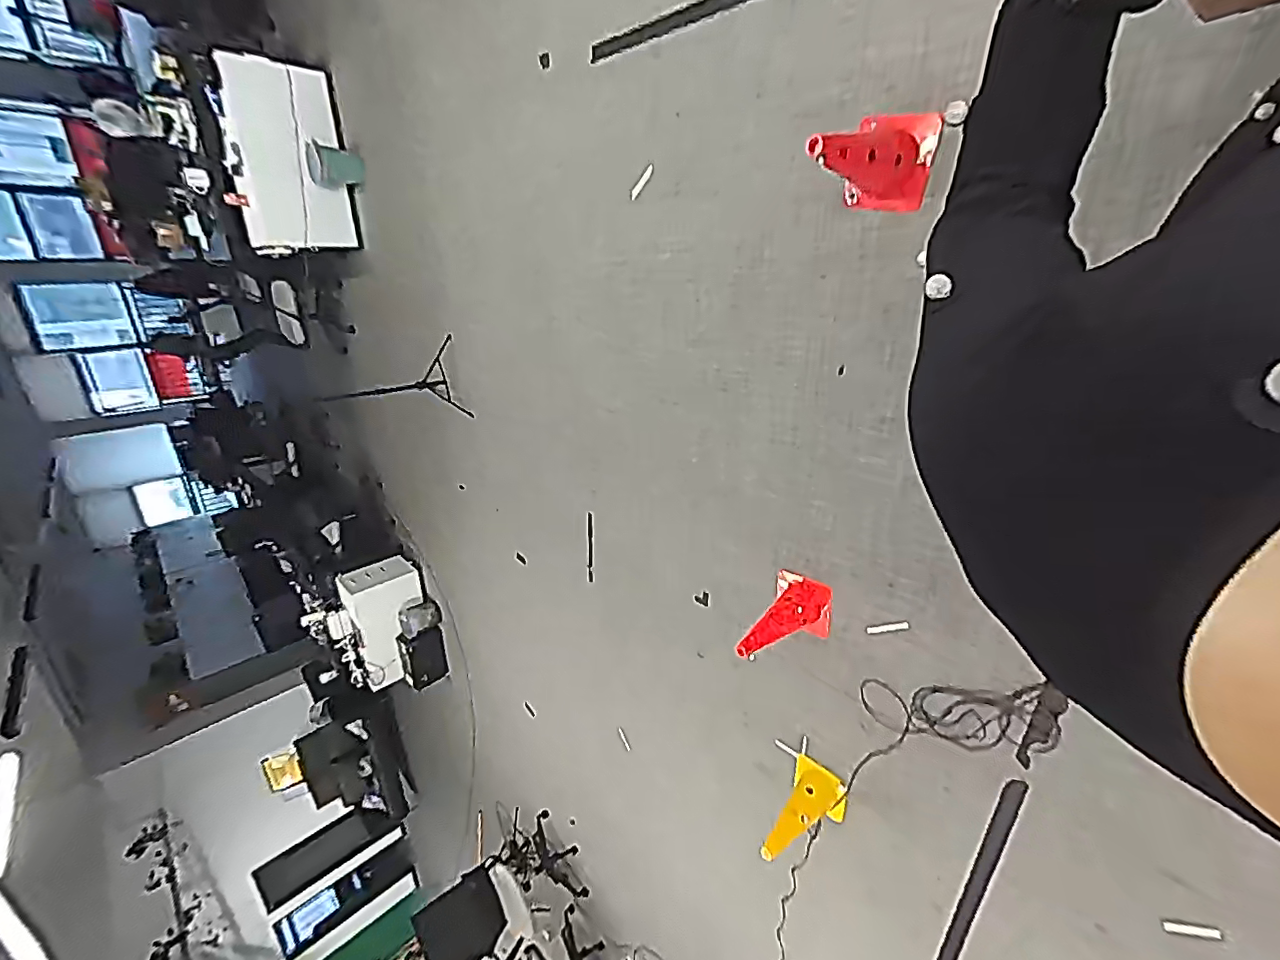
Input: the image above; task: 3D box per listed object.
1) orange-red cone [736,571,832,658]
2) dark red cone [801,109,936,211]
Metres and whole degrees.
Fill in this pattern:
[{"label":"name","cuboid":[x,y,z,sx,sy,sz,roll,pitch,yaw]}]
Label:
[{"label":"orange-red cone","cuboid":[0.431,0.469,1.723,0.198,0.360,0.199,19,120,44]},{"label":"dark red cone","cuboid":[0.460,-0.706,1.167,0.201,0.394,0.202,27,124,38]}]
